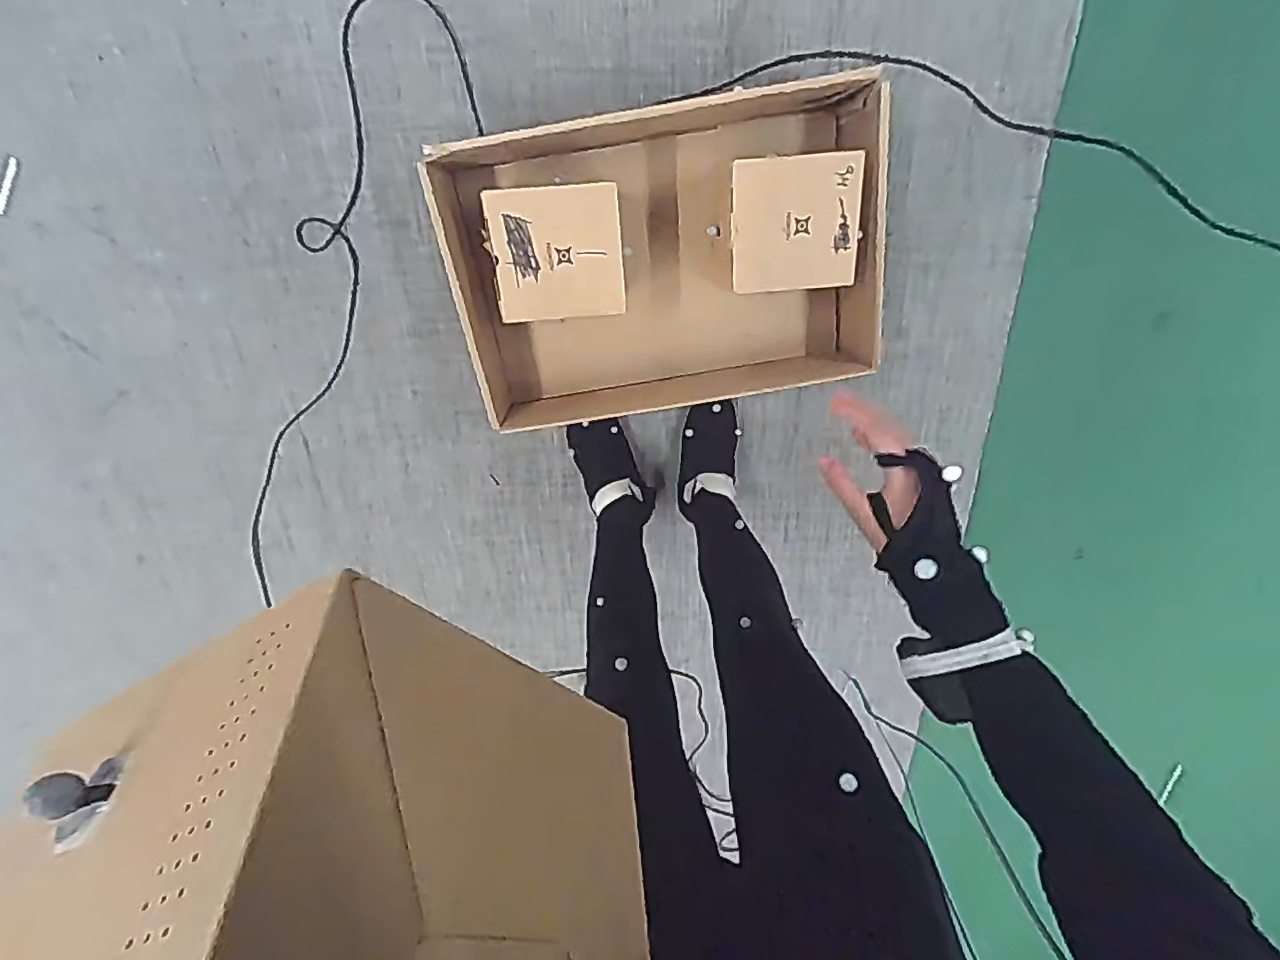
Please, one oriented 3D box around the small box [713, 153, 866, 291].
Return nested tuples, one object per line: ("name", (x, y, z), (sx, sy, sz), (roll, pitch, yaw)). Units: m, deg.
("small box", (0.205, -0.372, 0.796), (0.179, 0.176, 0.168), (-4, 114, -1))
